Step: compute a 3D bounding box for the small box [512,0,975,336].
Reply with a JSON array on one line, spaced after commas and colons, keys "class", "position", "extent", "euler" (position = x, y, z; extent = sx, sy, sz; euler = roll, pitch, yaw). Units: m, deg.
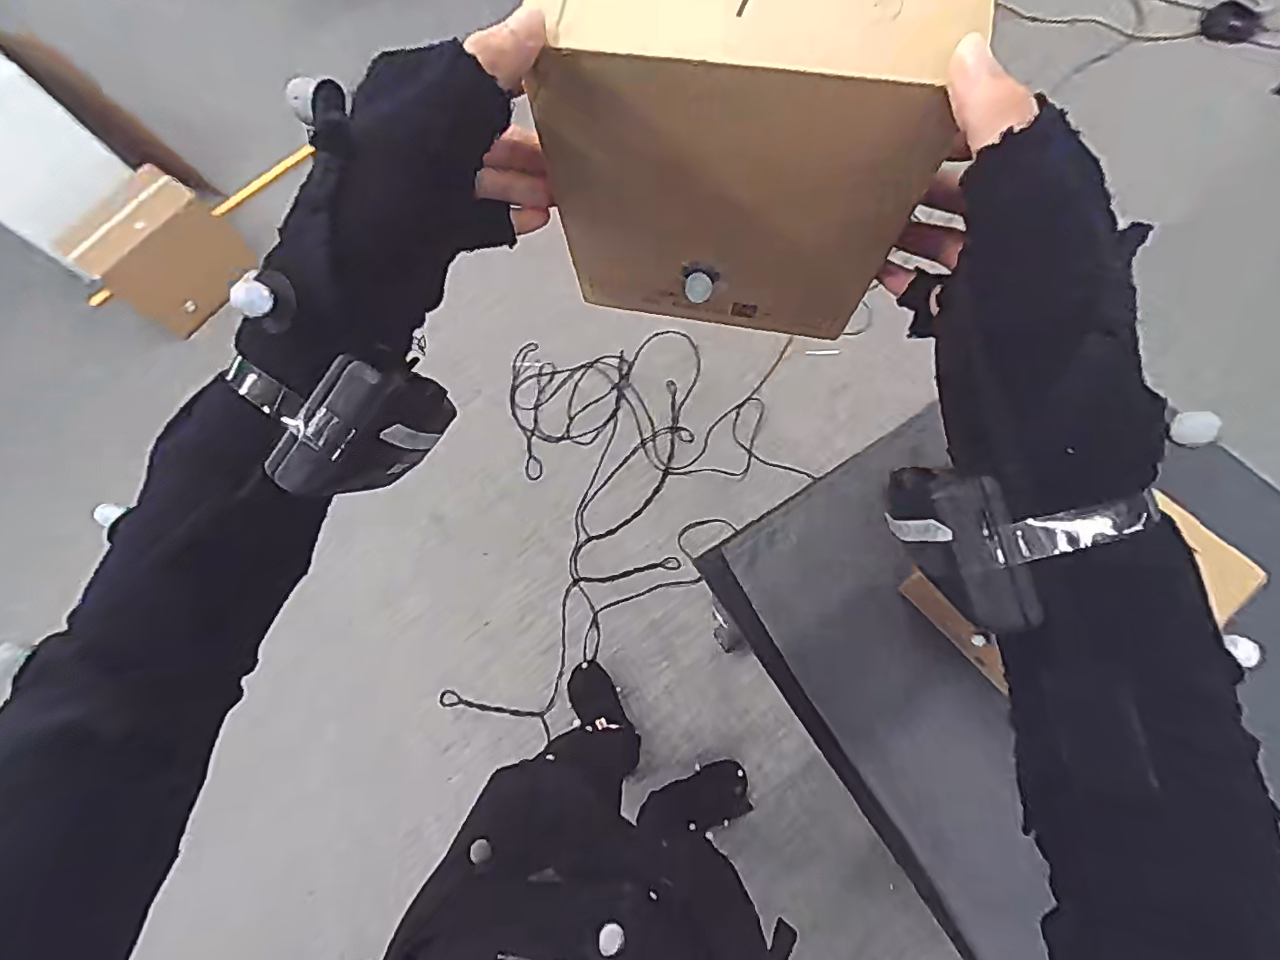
[{"class": "small box", "position": [0.051, -0.205, 0.288], "extent": [0.168, 0.176, 0.179], "euler": [10, 76, 6]}]

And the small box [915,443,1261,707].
[{"class": "small box", "position": [0.407, 0.102, 0.536], "extent": [0.179, 0.176, 0.168], "euler": [-37, 69, -9]}]
